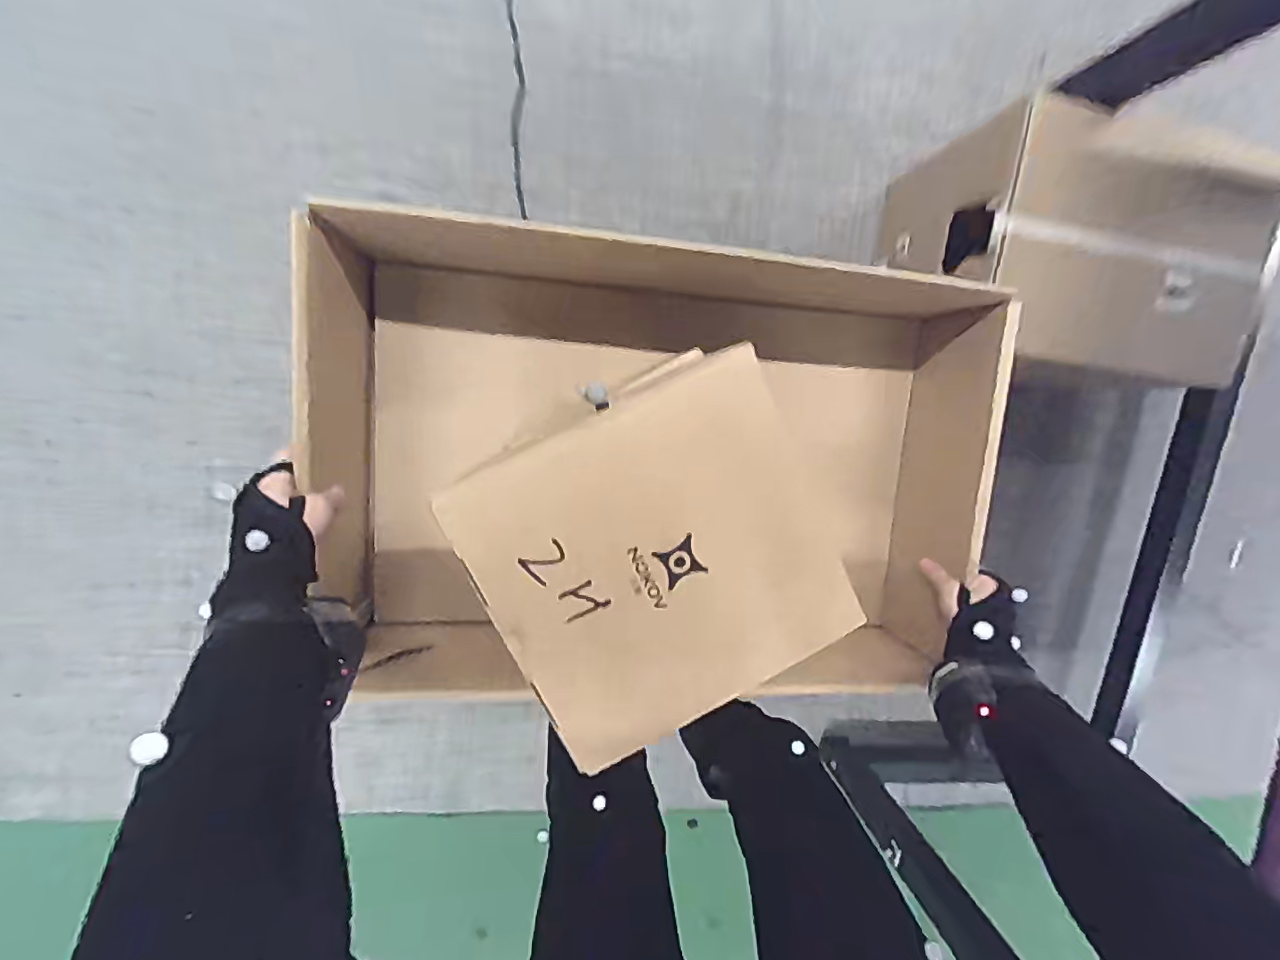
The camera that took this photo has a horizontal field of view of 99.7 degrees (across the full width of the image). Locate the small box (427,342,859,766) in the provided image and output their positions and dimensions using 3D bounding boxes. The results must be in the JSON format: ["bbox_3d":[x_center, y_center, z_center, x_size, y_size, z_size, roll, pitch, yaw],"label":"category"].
[{"bbox_3d":[-0.002,0.028,0.348,0.179,0.176,0.168,-27,100,-4],"label":"small box"}]
